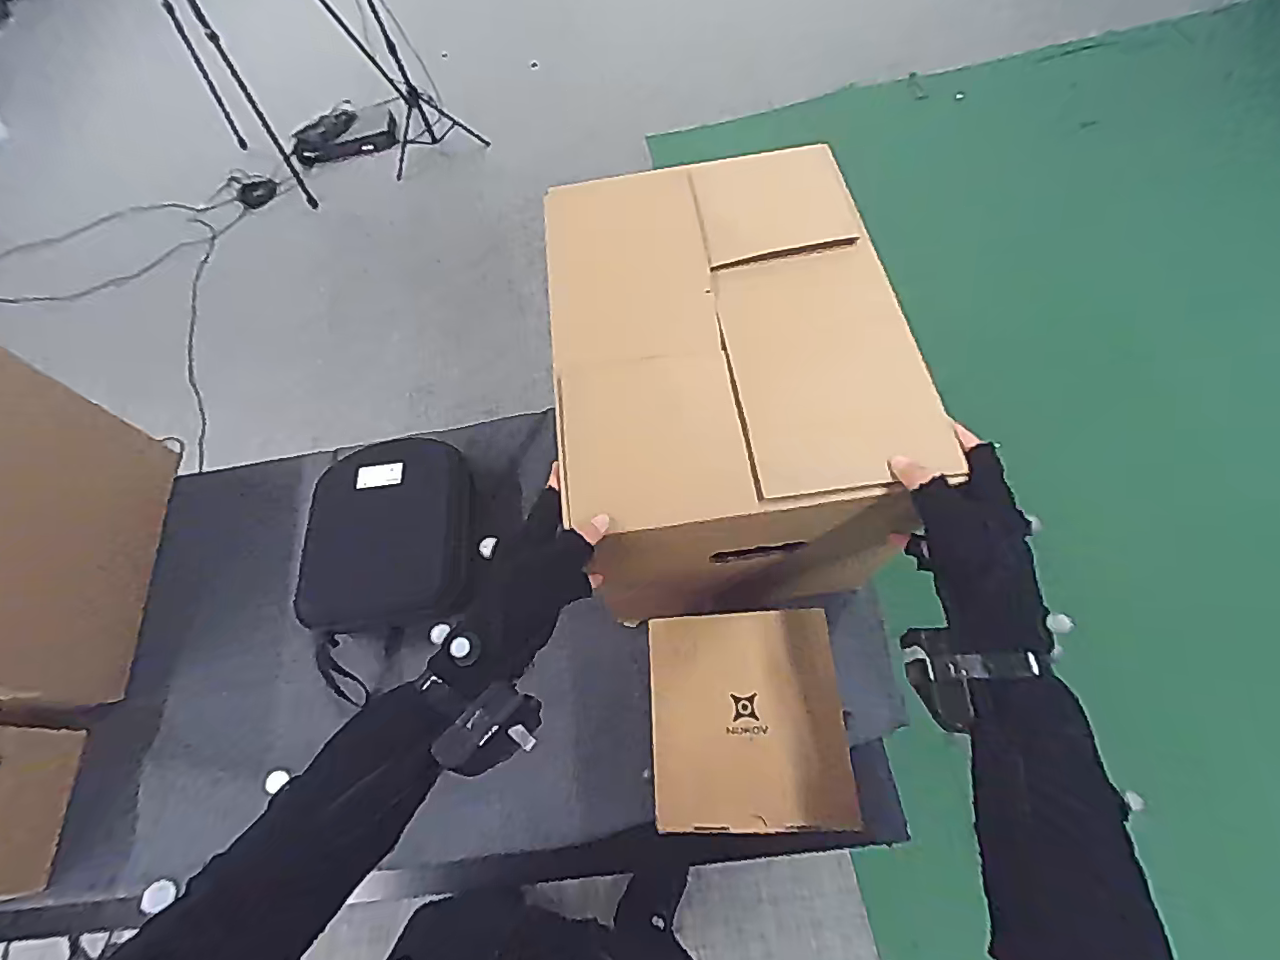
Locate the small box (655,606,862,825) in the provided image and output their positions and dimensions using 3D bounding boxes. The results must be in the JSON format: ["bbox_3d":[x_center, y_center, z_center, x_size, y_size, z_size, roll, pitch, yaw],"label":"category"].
[{"bbox_3d":[0.106,0.234,0.545,0.168,0.176,0.179,-5,65,8],"label":"small box"}]
